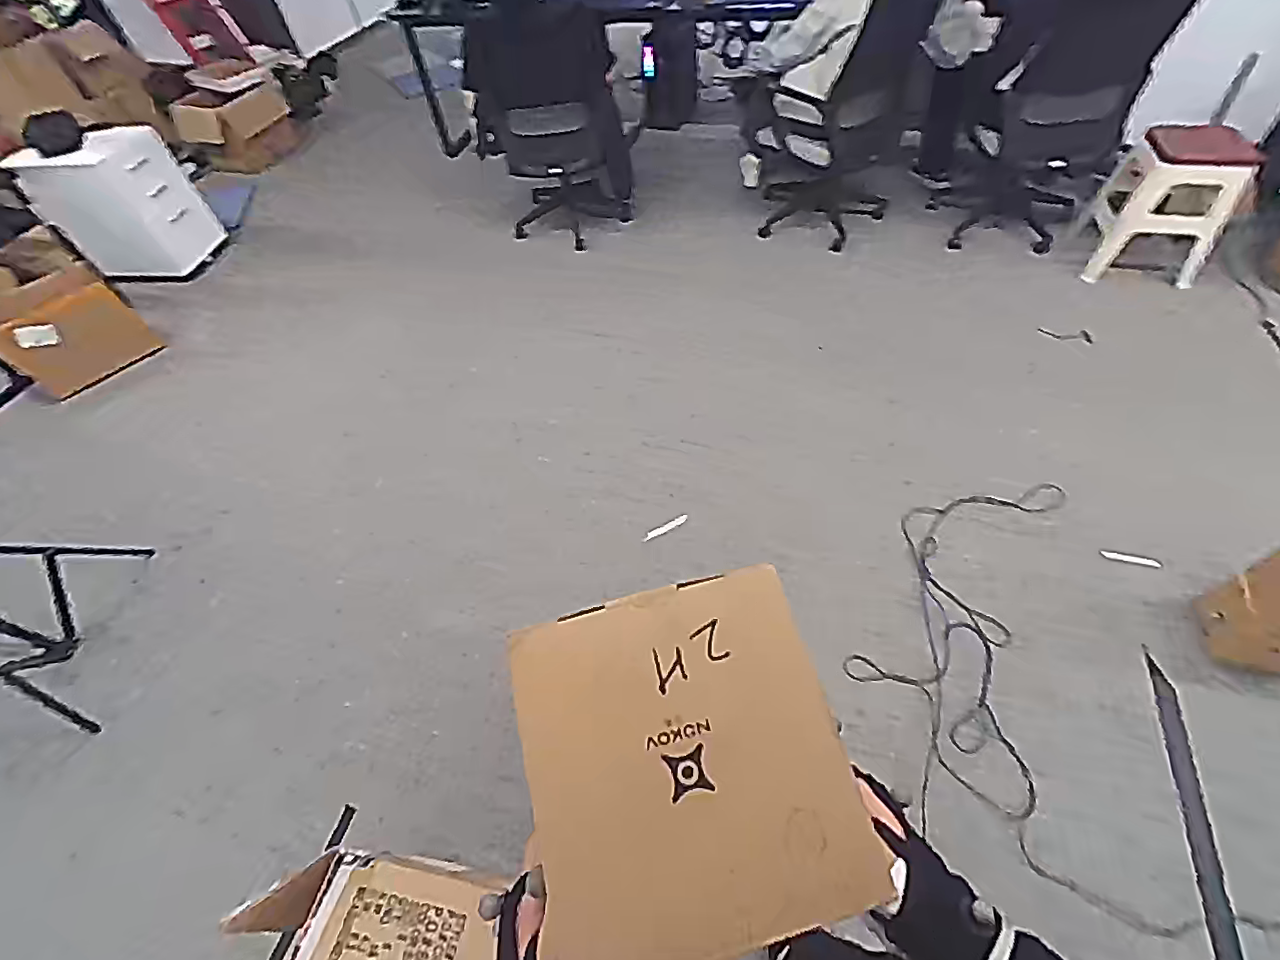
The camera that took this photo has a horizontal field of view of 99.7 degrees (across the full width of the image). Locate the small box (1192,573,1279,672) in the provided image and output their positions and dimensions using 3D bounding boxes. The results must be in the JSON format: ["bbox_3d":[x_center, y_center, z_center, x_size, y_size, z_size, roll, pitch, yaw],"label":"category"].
[{"bbox_3d":[1.522,0.354,1.329,0.179,0.176,0.168,10,55,14],"label":"small box"}]

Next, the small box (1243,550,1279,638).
[{"bbox_3d":[1.513,0.254,1.200,0.168,0.176,0.179,14,57,17],"label":"small box"}]

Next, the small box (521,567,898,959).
[{"bbox_3d":[0.030,0.178,0.362,0.168,0.176,0.179,-13,66,-6],"label":"small box"}]
